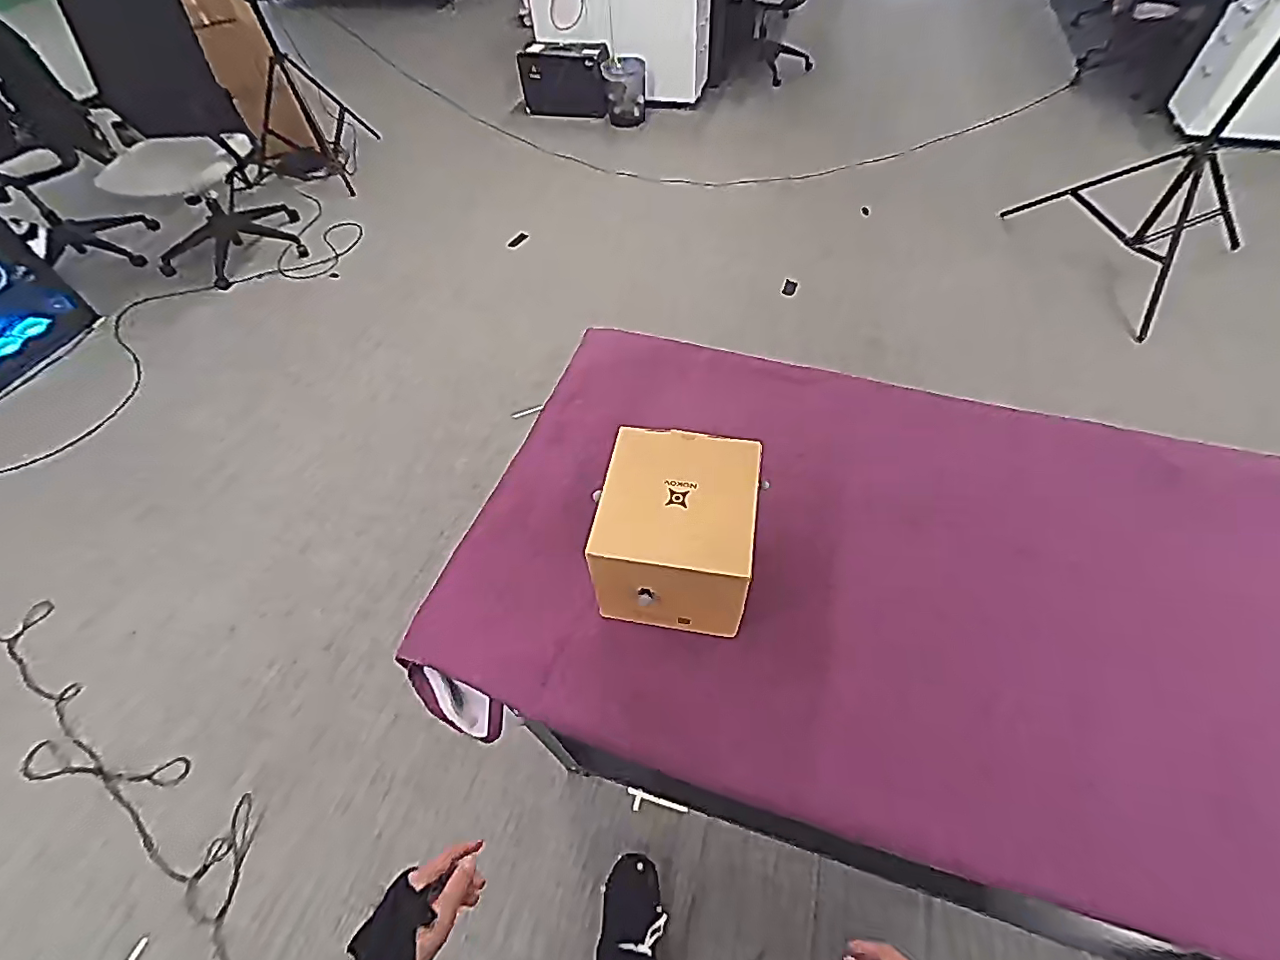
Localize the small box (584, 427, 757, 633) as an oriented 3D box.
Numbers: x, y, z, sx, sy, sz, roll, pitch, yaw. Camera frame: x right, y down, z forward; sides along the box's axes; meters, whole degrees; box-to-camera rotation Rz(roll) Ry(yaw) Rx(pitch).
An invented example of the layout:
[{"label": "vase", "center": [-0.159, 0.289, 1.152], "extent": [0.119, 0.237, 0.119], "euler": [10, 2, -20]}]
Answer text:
[{"label": "small box", "center": [0.043, 0.063, 0.641], "extent": [0.168, 0.176, 0.179], "euler": [7, 53, 8]}]
